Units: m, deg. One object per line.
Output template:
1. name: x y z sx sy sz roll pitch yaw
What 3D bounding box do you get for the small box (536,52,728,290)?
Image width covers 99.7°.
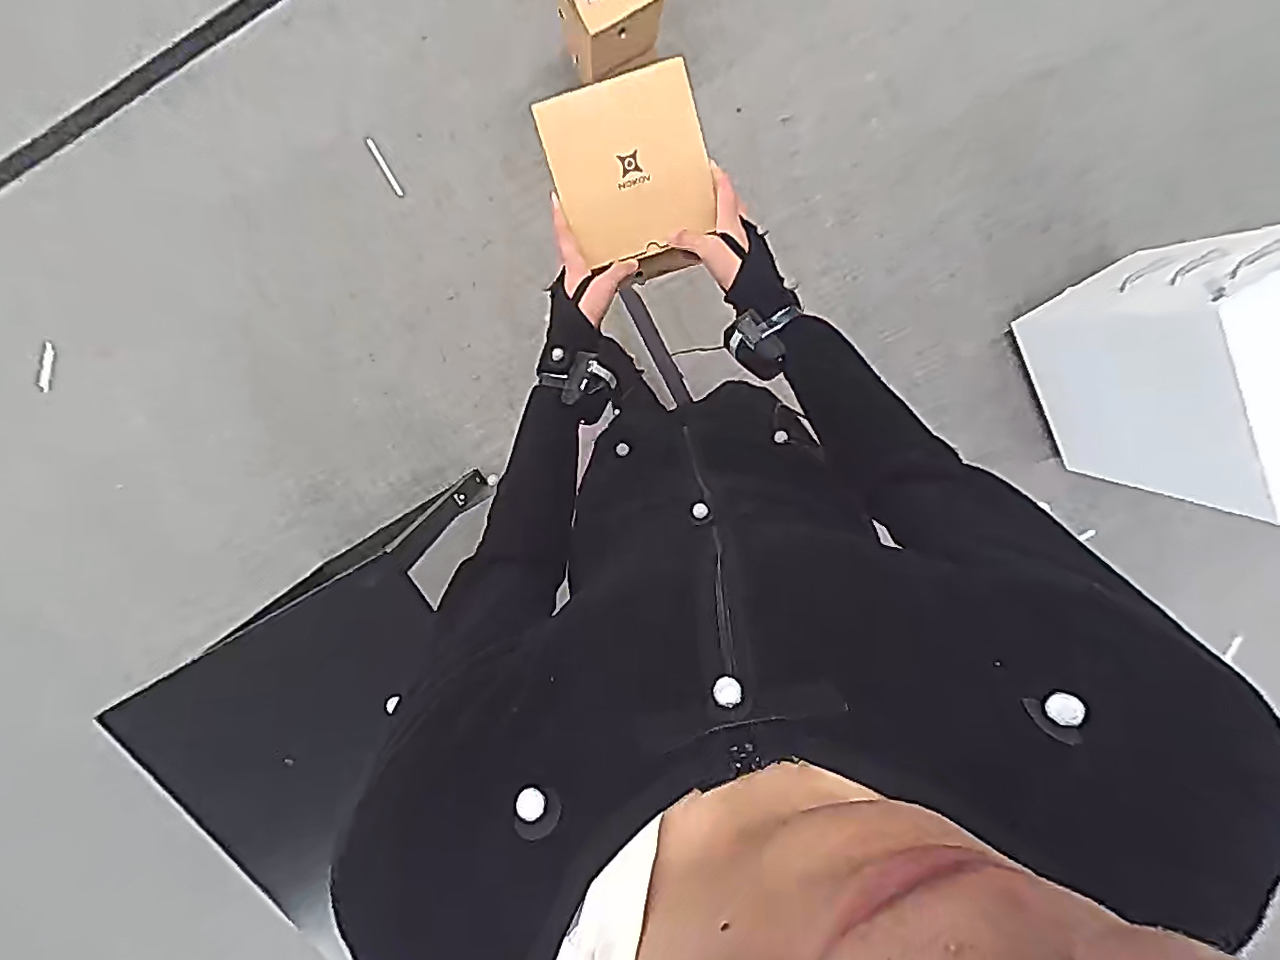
1. small box: -0.011 -0.344 0.639 0.168 0.176 0.179 -17 102 1

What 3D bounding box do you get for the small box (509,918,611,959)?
1. small box: -0.151 0.997 1.029 0.179 0.176 0.168 -31 103 4

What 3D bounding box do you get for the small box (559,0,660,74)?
1. small box: -0.068 -1.012 1.139 0.179 0.176 0.168 -29 103 2
